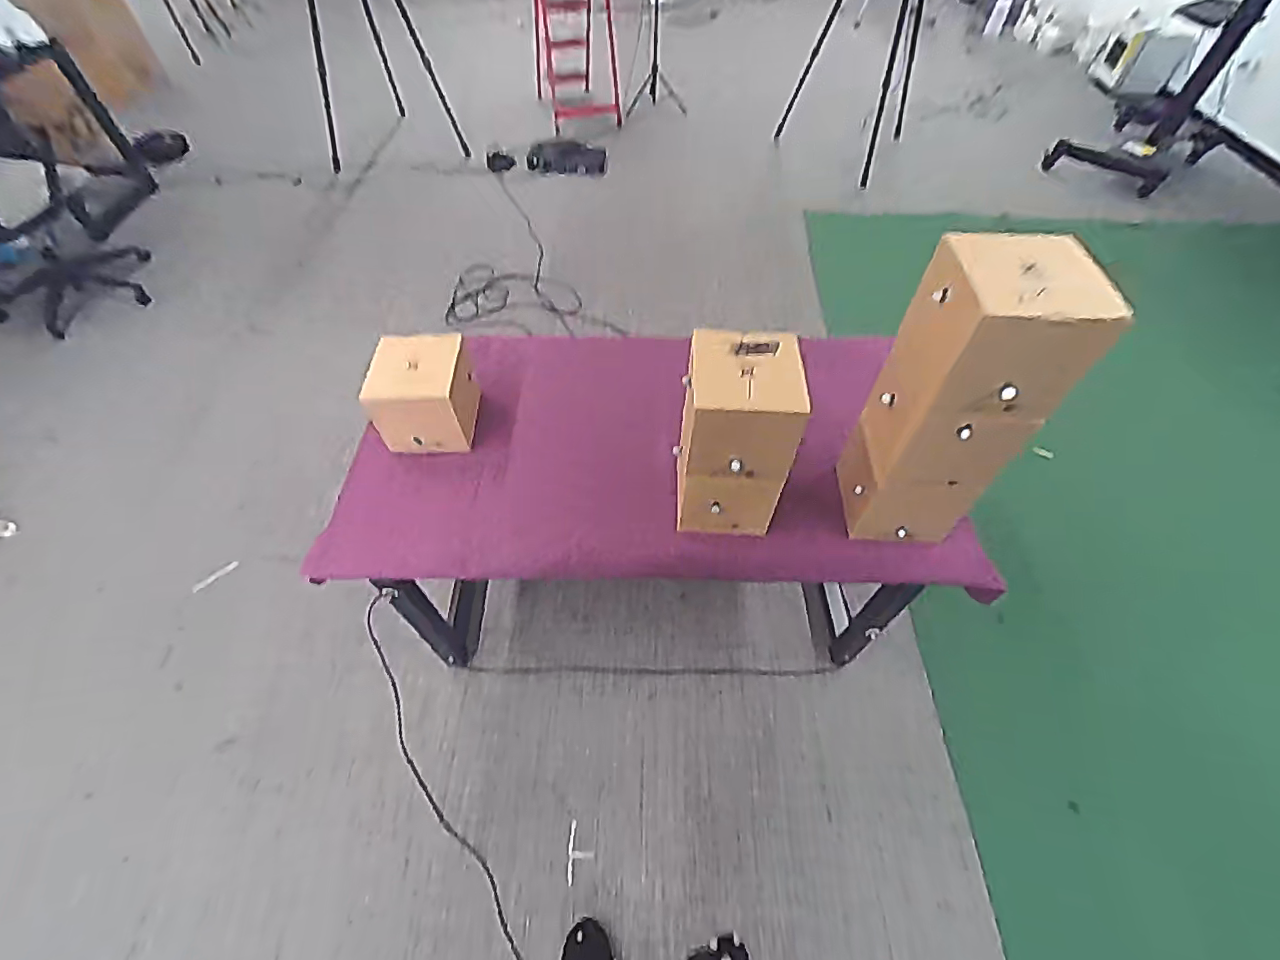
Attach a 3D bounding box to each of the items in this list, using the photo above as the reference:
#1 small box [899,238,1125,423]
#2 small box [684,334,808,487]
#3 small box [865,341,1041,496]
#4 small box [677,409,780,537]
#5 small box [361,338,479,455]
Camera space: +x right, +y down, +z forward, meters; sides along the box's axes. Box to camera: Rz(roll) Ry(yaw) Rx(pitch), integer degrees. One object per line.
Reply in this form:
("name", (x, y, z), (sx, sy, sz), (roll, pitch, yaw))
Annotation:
("small box", (0.473, -0.199, 0.727), (0.168, 0.176, 0.179), (2, 54, 3))
("small box", (0.158, -0.111, 0.869), (0.168, 0.176, 0.179), (3, 53, 2))
("small box", (0.475, -0.097, 0.857), (0.168, 0.176, 0.179), (3, 53, 3))
("small box", (0.156, -0.010, 0.999), (0.168, 0.176, 0.179), (2, 52, 2))
("small box", (-0.437, -0.169, 1.109), (0.168, 0.176, 0.179), (-2, 55, -1))
